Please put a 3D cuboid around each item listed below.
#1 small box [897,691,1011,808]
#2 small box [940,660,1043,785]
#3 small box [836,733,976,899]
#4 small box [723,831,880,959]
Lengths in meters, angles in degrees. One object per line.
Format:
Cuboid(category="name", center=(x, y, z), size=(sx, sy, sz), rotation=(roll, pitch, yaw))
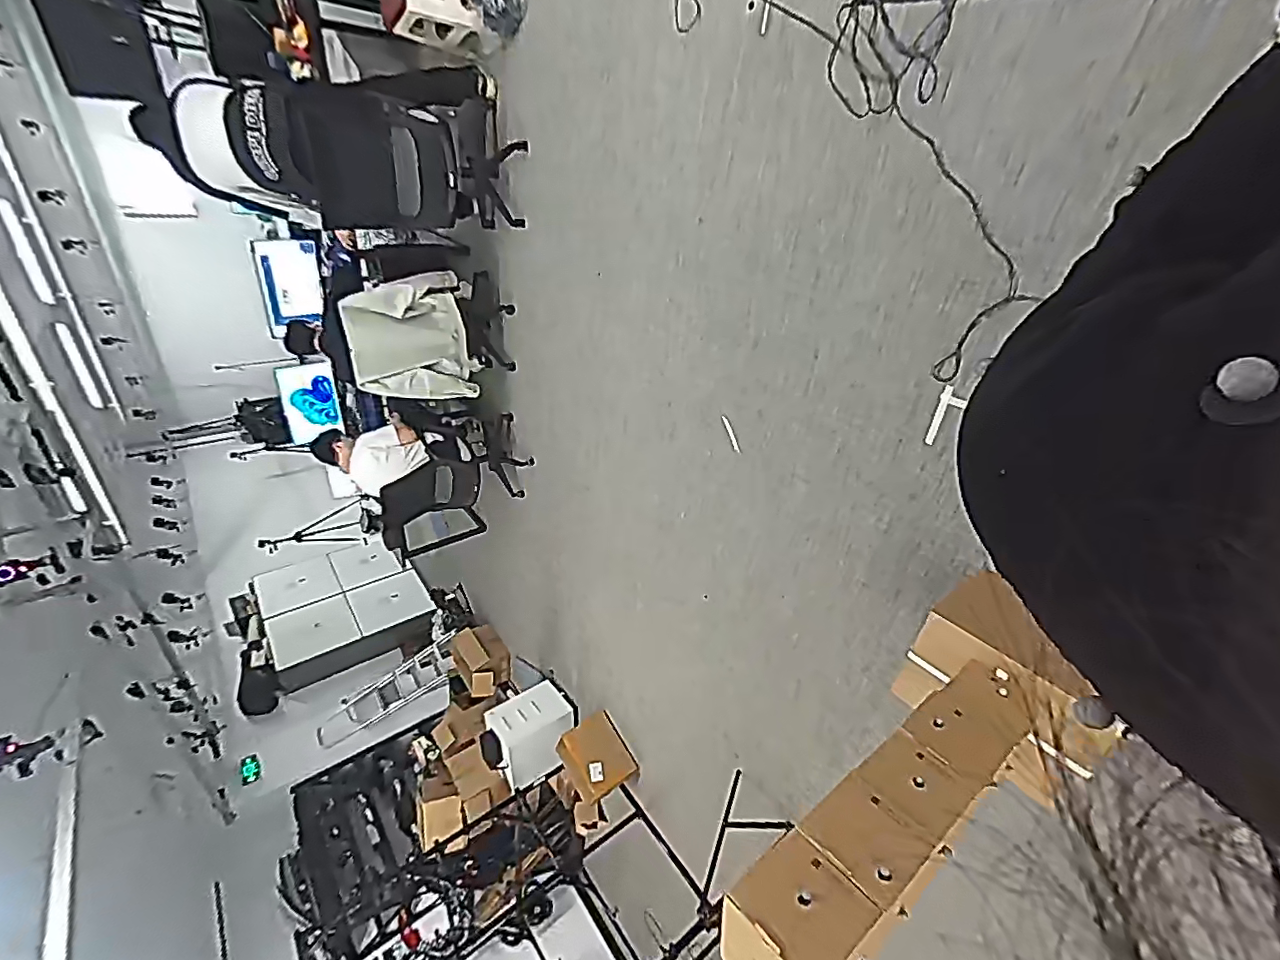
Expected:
Cuboid(category="small box", center=(0.638, 0.583, 1.131), size=(0.168, 0.176, 0.179), rotation=(35, 132, 43))
Cuboid(category="small box", center=(0.767, 0.547, 1.222), size=(0.168, 0.176, 0.179), rotation=(35, 131, 41))
Cuboid(category="small box", center=(0.511, 0.630, 1.037), size=(0.168, 0.176, 0.179), rotation=(31, 128, 45))
Cuboid(category="small box", center=(0.253, 0.710, 0.851), size=(0.168, 0.176, 0.179), rotation=(26, 124, 47))
